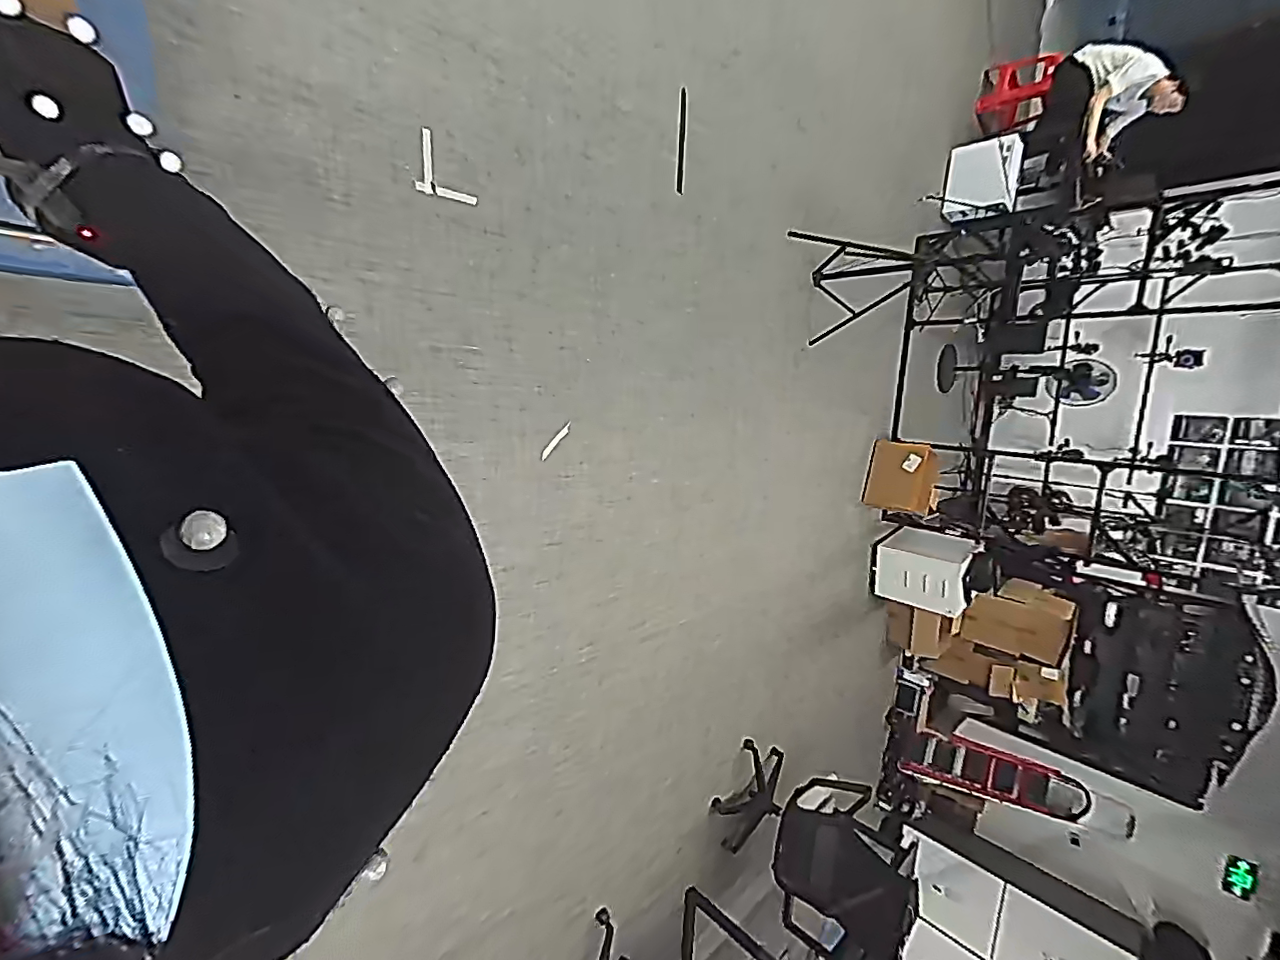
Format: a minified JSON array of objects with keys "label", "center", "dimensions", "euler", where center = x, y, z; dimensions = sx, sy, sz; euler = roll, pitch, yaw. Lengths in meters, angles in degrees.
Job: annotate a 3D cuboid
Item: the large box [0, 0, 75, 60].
[{"label":"large box","center":[-0.935,-0.781,0.604],"dimensions":[0.408,0.320,0.320],"euler":[-3,100,-45]}]
